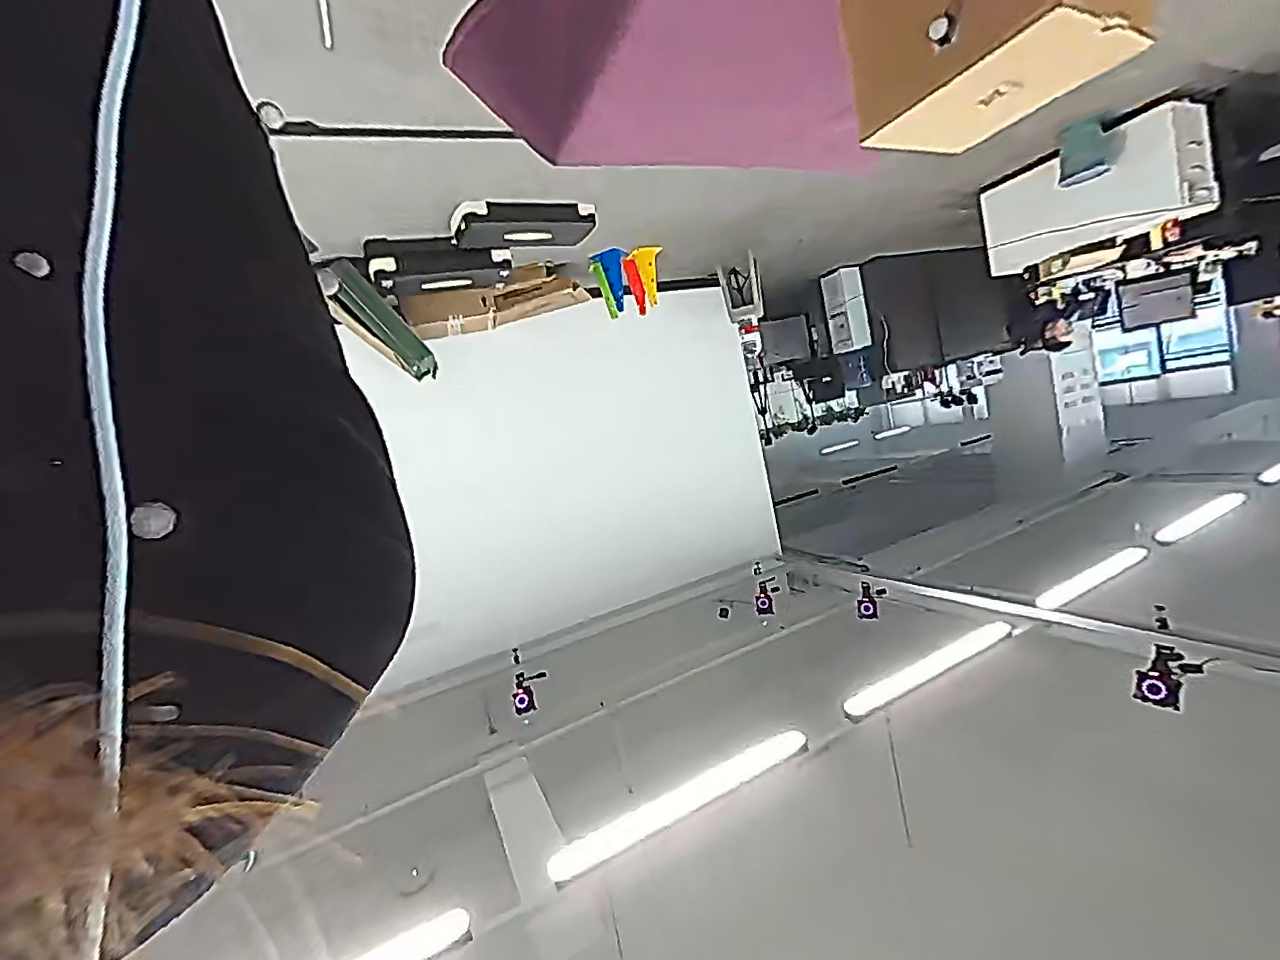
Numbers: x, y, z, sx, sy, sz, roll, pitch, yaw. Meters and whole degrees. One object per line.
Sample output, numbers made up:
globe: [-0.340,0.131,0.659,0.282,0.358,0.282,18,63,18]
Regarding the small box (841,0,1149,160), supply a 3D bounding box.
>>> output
small box: [0.303,-0.421,0.483,0.168,0.176,0.179,-15,-175,-27]
